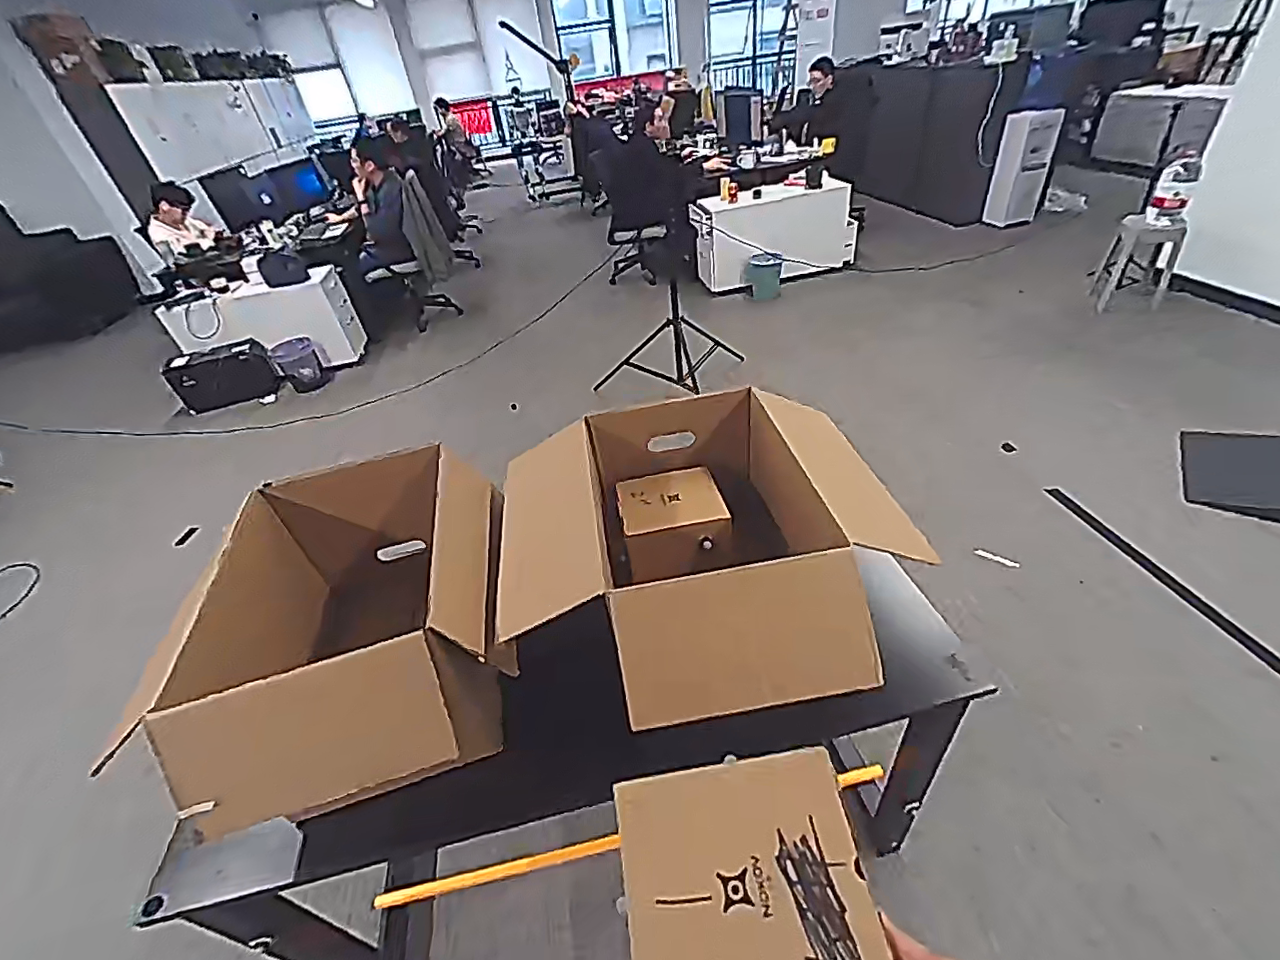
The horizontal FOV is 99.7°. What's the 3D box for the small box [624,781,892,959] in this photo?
[{"bbox_3d":[0.087,0.366,0.448,0.179,0.176,0.168,-9,51,-2],"label":"small box"}]
